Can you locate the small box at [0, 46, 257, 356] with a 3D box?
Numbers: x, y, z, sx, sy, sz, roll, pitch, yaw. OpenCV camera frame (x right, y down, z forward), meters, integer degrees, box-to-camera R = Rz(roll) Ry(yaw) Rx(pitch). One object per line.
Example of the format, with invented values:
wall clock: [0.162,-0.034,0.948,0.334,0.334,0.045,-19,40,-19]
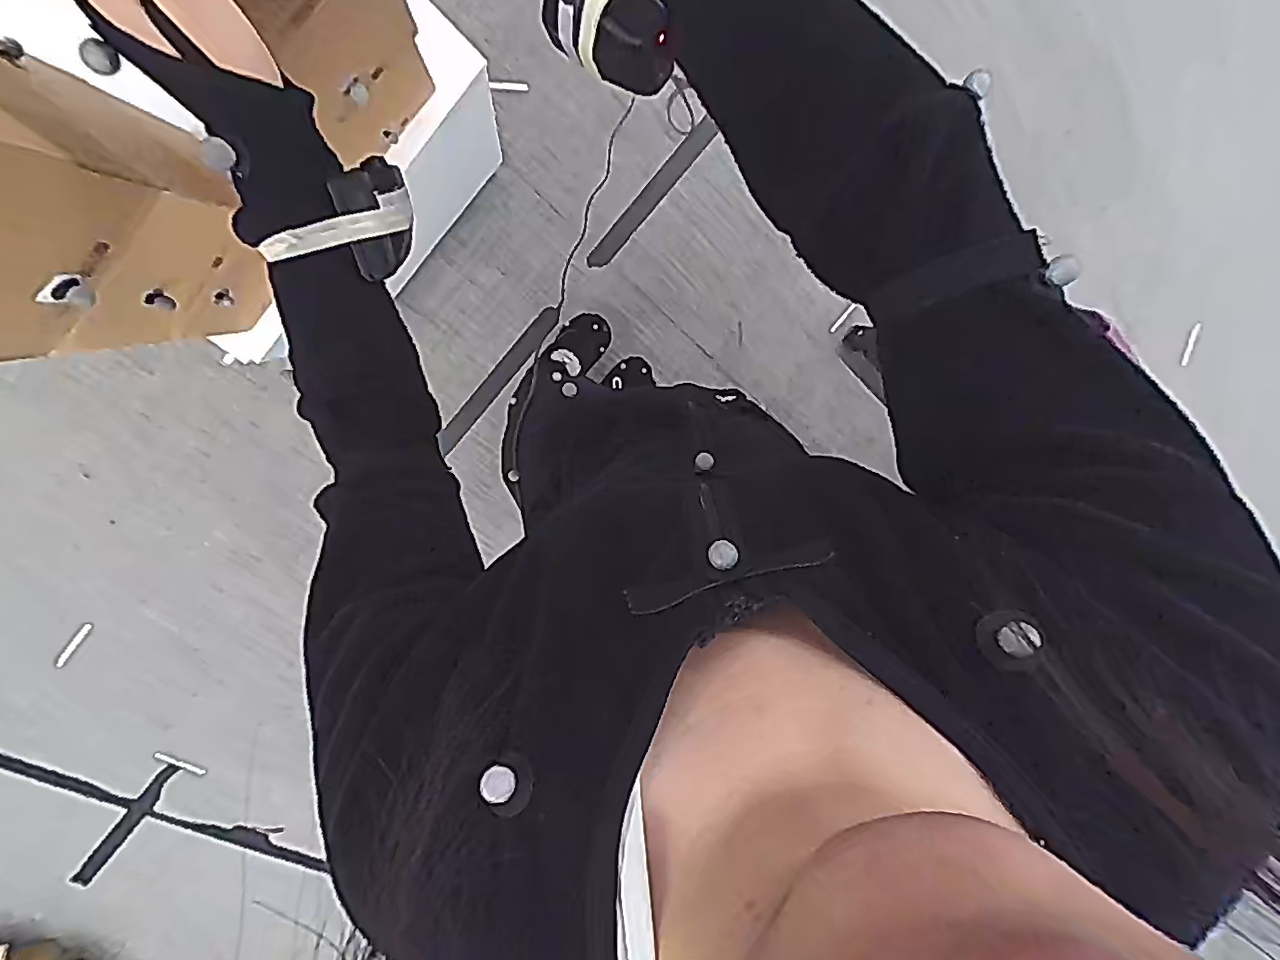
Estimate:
small box: [-0.485,-0.233,0.464,0.179,0.176,0.168,38,98,-20]

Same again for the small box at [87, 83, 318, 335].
small box: [-0.518,-0.285,0.615,0.179,0.176,0.168,40,97,-20]

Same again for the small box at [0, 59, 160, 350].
small box: [-0.454,-0.184,0.312,0.179,0.176,0.168,38,99,-21]
